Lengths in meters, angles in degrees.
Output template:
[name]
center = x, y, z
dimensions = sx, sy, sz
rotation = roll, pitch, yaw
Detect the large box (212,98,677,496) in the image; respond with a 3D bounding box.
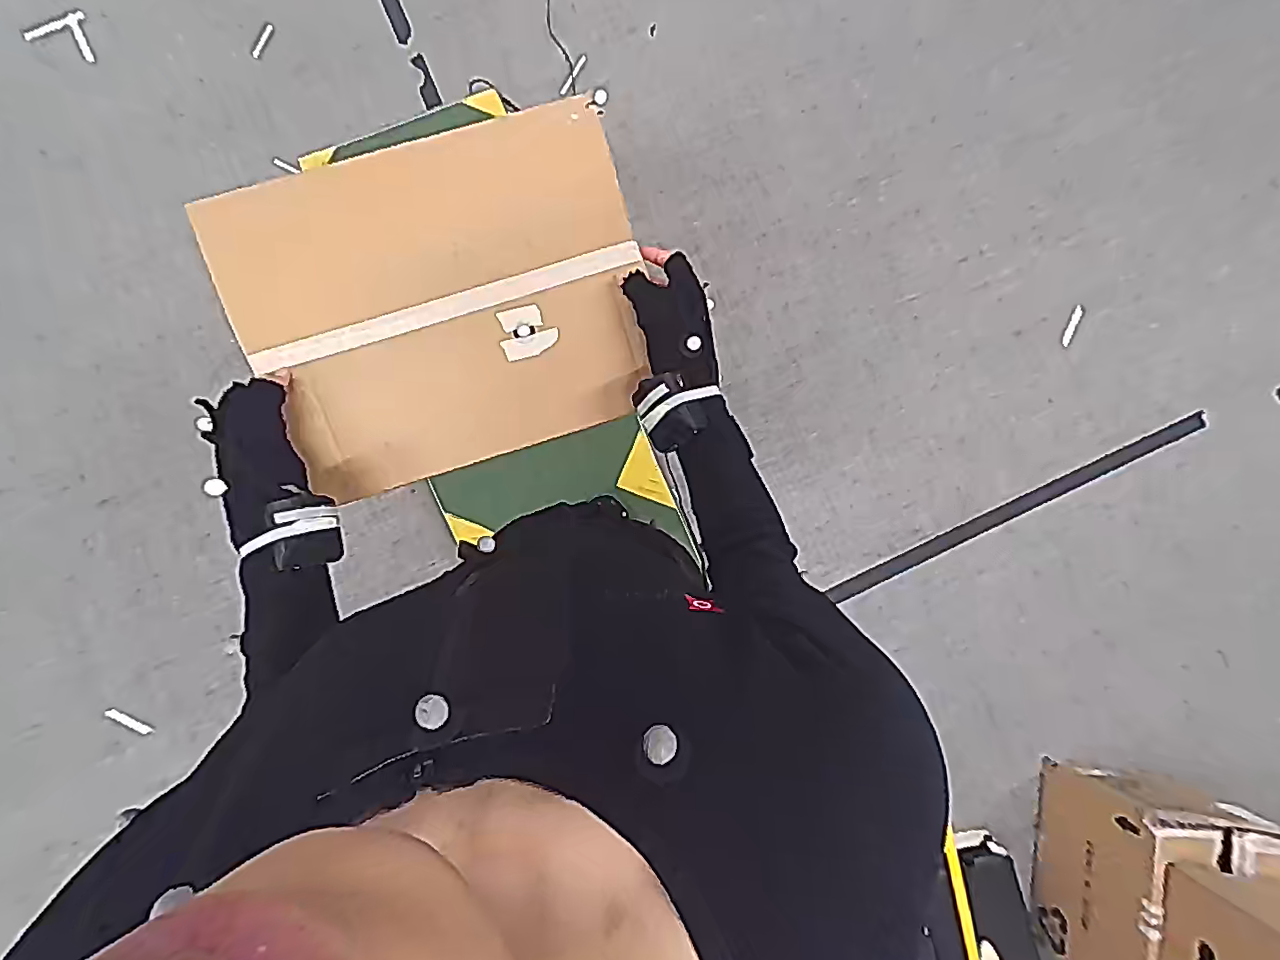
[large box]
center = -0.207, -0.203, 0.709
dimensions = 0.408, 0.320, 0.320
rotation = -18, 99, -4
